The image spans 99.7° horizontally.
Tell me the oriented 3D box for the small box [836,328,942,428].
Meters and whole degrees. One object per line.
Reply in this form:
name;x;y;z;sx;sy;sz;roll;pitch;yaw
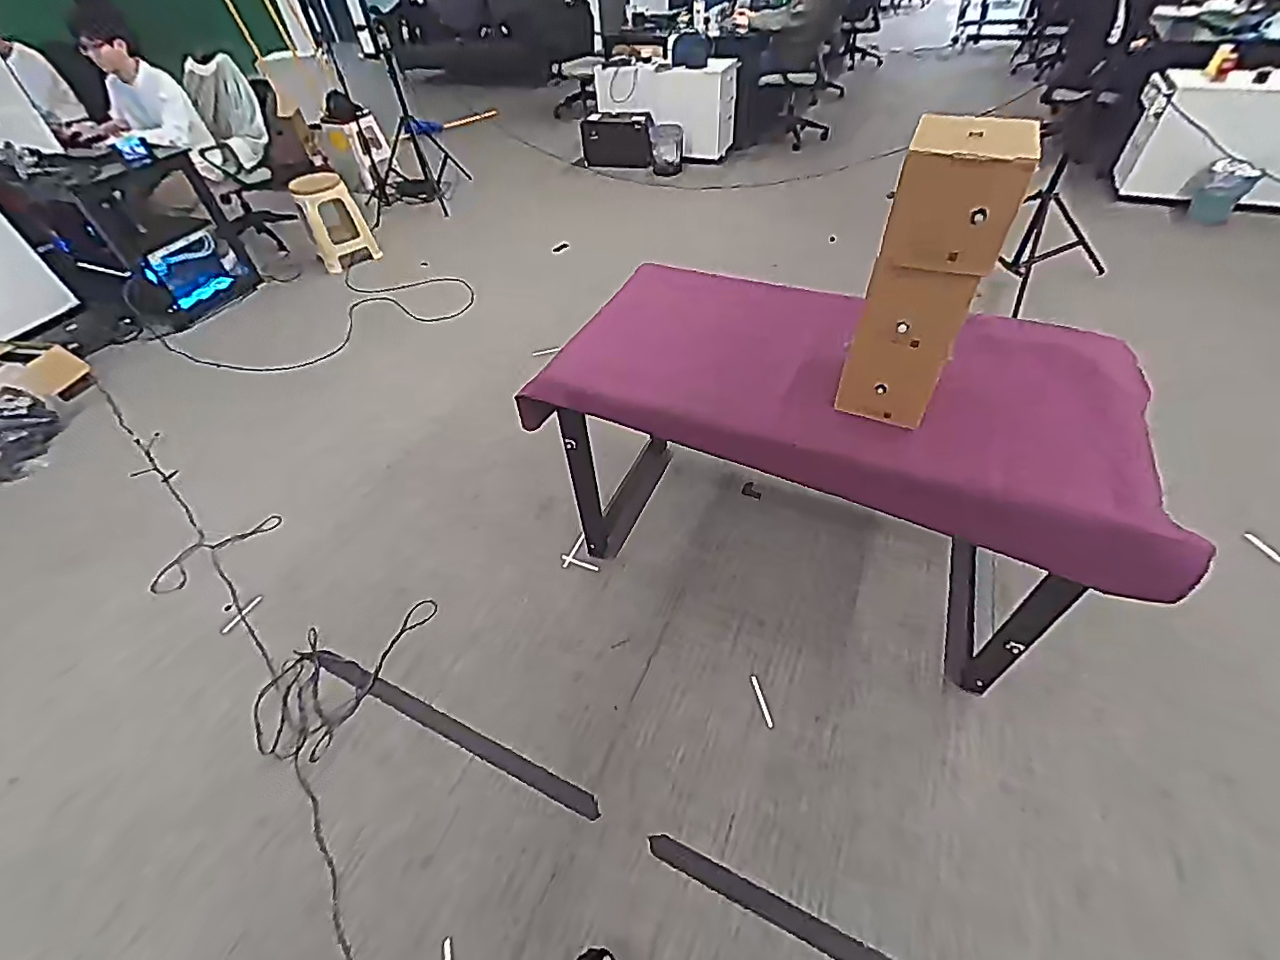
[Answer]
small box;0.511;-0.232;1.097;0.168;0.176;0.179;20;51;21

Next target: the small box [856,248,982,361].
small box;0.506;-0.345;0.978;0.168;0.176;0.179;19;52;21

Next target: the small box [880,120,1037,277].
small box;0.489;-0.440;0.846;0.168;0.176;0.179;17;50;18
